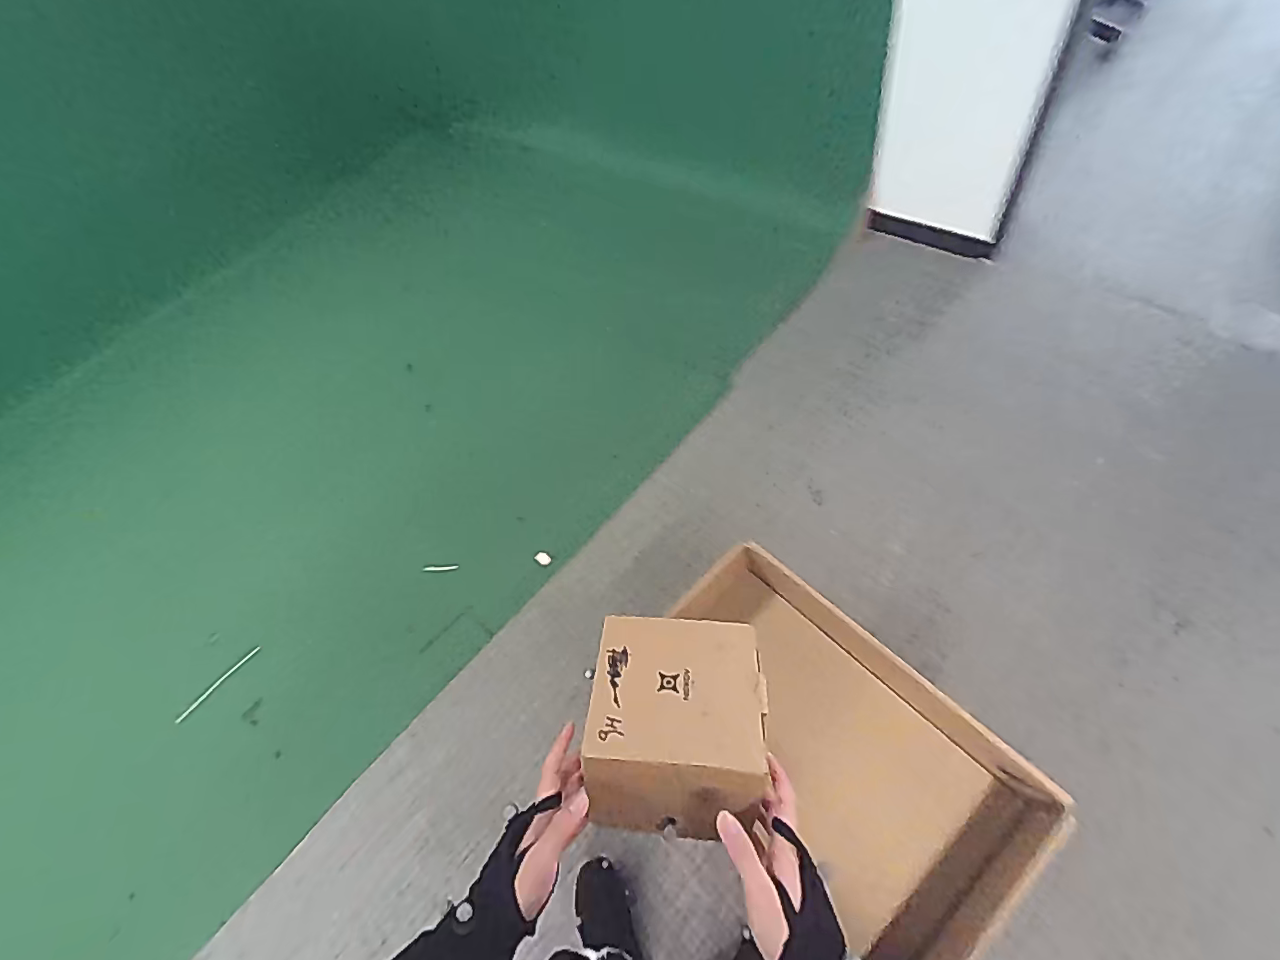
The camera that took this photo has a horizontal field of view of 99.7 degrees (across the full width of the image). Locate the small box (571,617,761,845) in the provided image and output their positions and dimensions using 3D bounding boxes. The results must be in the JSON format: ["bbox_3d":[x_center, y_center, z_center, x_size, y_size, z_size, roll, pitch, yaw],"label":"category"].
[{"bbox_3d":[0.029,0.278,0.601,0.179,0.176,0.168,3,36,4],"label":"small box"}]
